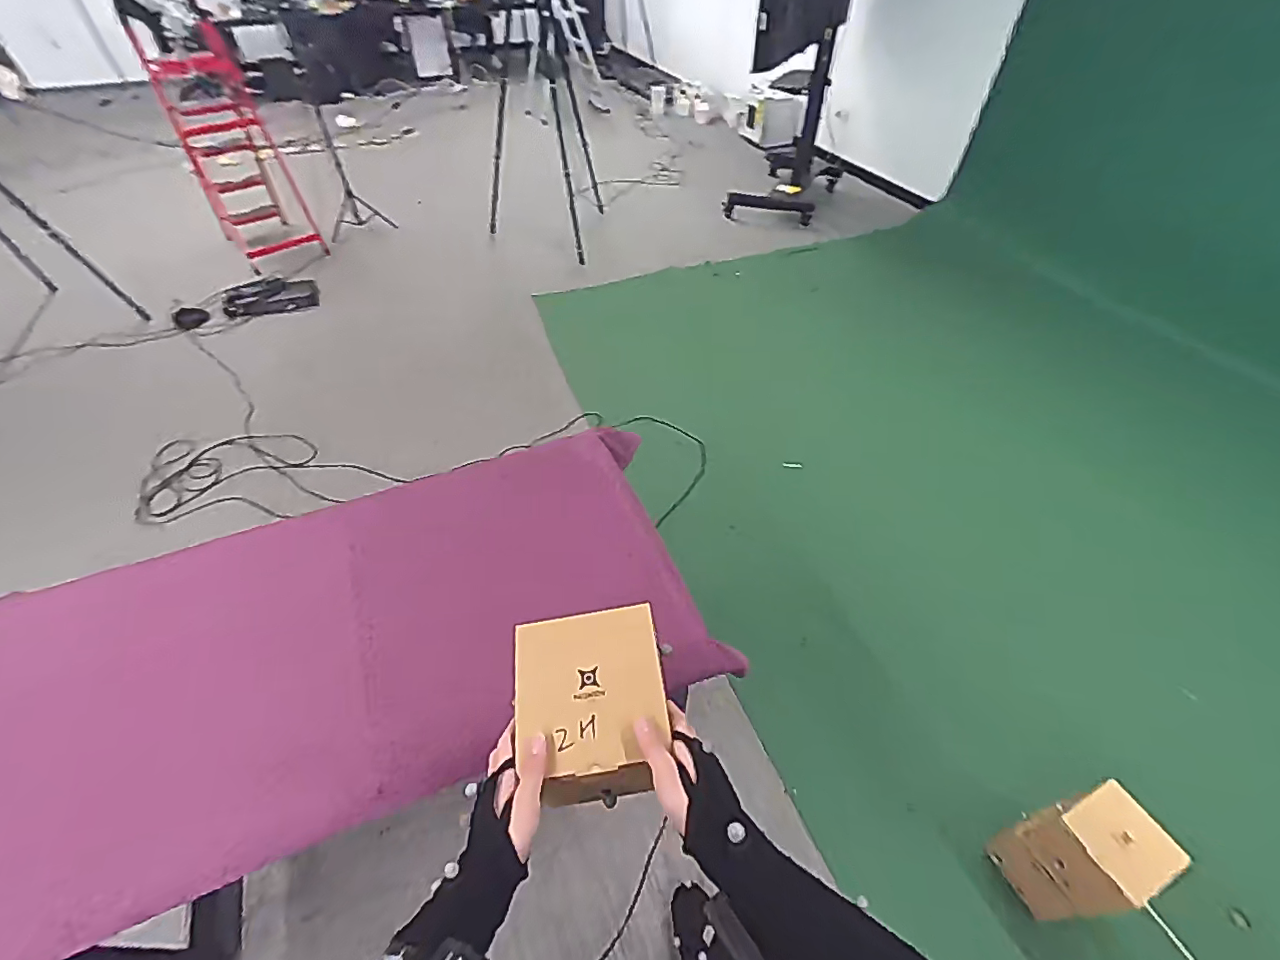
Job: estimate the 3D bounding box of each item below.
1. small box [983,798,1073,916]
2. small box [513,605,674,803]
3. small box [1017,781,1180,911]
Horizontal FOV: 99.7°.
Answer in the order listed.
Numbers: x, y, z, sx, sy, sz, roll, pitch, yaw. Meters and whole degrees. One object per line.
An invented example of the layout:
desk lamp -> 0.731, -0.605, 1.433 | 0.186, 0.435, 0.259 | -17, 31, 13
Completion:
small box -> 0.955, 0.893, 1.277 | 0.179, 0.176, 0.168 | -18, 50, -17
small box -> -0.051, 0.277, 0.663 | 0.168, 0.176, 0.179 | -8, 53, 0
small box -> 0.964, 0.783, 1.157 | 0.179, 0.176, 0.168 | -20, 51, -17
